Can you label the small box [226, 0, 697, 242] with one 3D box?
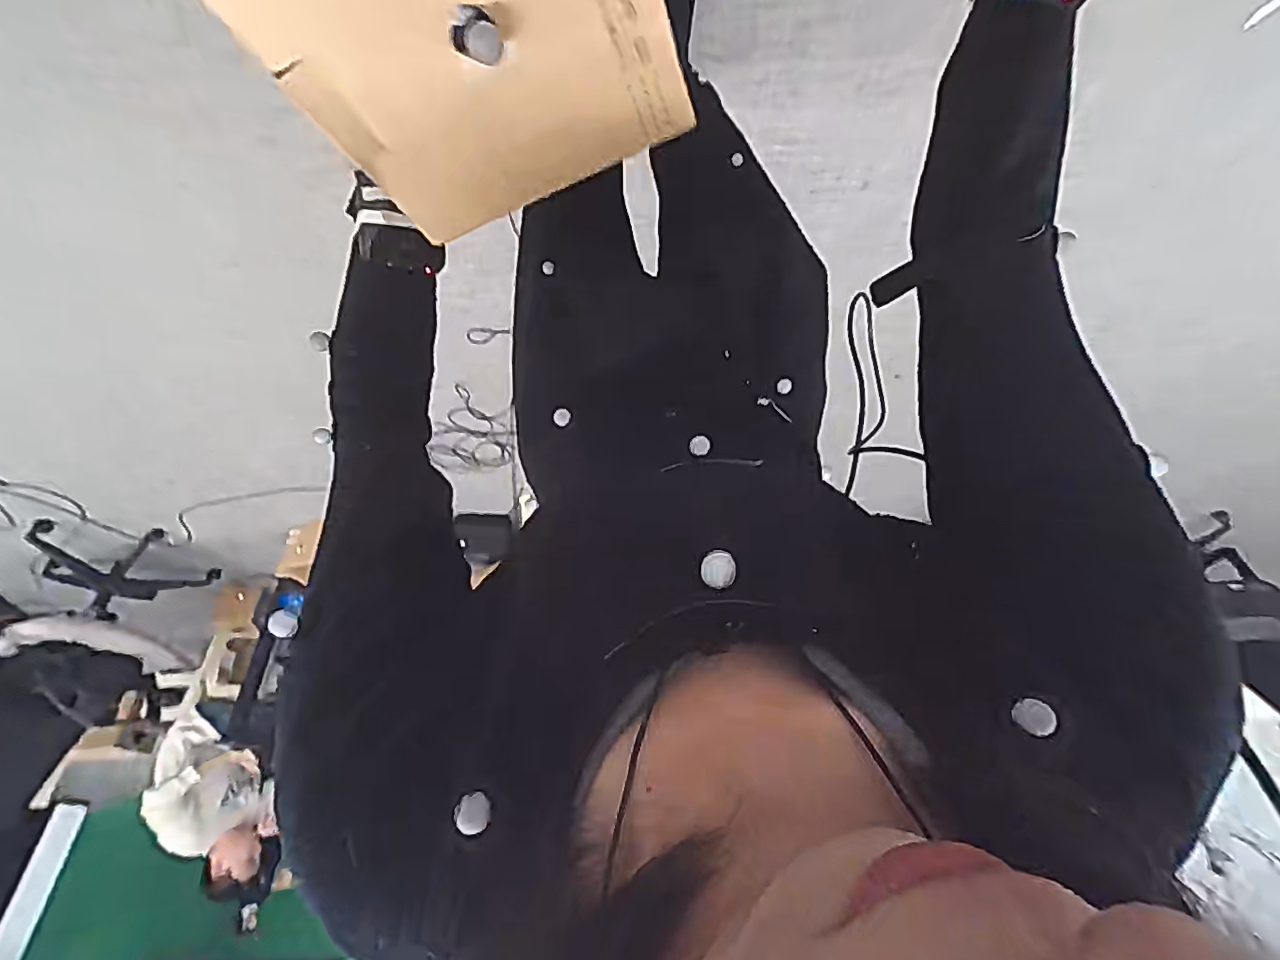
[{"bbox_3d":[-0.079,-0.260,0.254,0.176,0.179,0.168,-17,155,12],"label":"small box"}]
